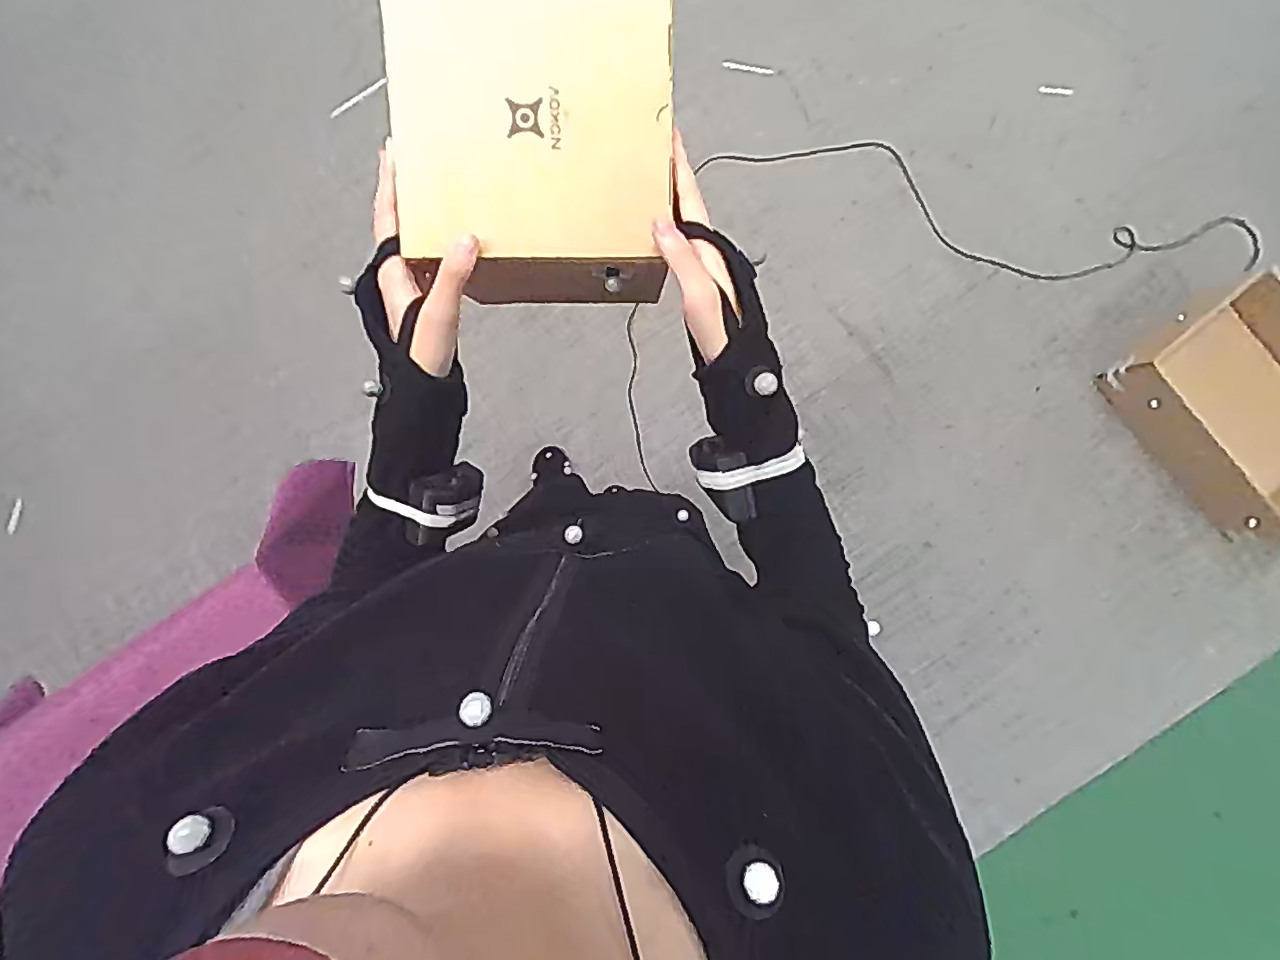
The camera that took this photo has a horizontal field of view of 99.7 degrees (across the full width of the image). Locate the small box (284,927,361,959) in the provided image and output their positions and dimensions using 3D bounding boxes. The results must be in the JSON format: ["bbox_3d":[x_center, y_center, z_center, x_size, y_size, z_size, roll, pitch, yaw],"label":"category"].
[{"bbox_3d":[-0.468,0.763,0.709,0.179,0.176,0.168,-42,90,-1],"label":"small box"}]

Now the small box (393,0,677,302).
[{"bbox_3d":[-0.066,-0.236,0.418,0.179,0.176,0.168,0,99,-2],"label":"small box"}]
